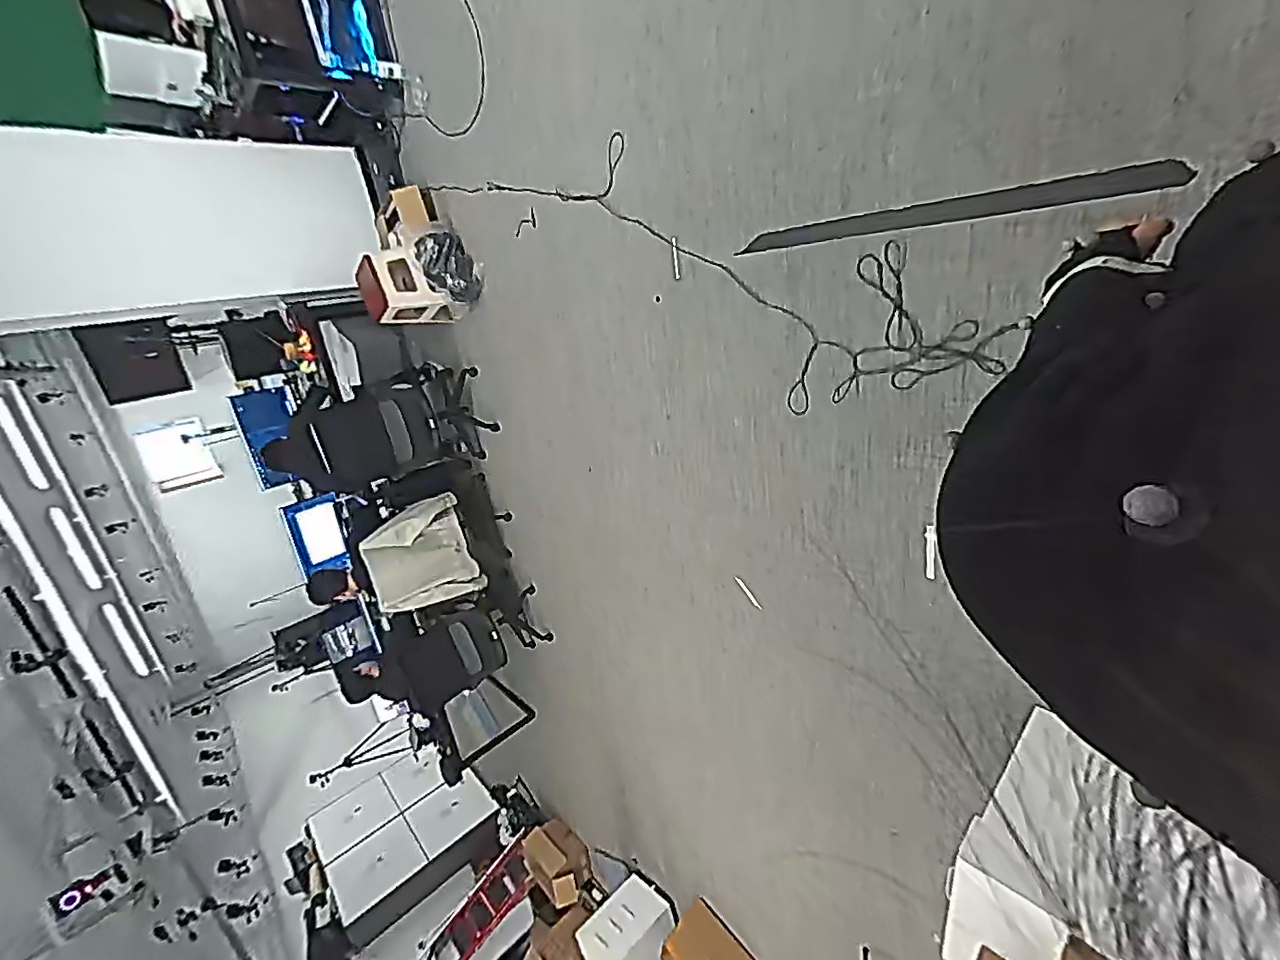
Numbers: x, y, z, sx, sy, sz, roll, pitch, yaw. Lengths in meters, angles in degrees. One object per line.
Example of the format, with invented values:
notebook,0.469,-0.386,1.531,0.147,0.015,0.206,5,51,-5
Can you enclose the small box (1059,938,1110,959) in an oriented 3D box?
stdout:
small box,0.804,0.960,0.930,0.168,0.176,0.179,18,124,44
